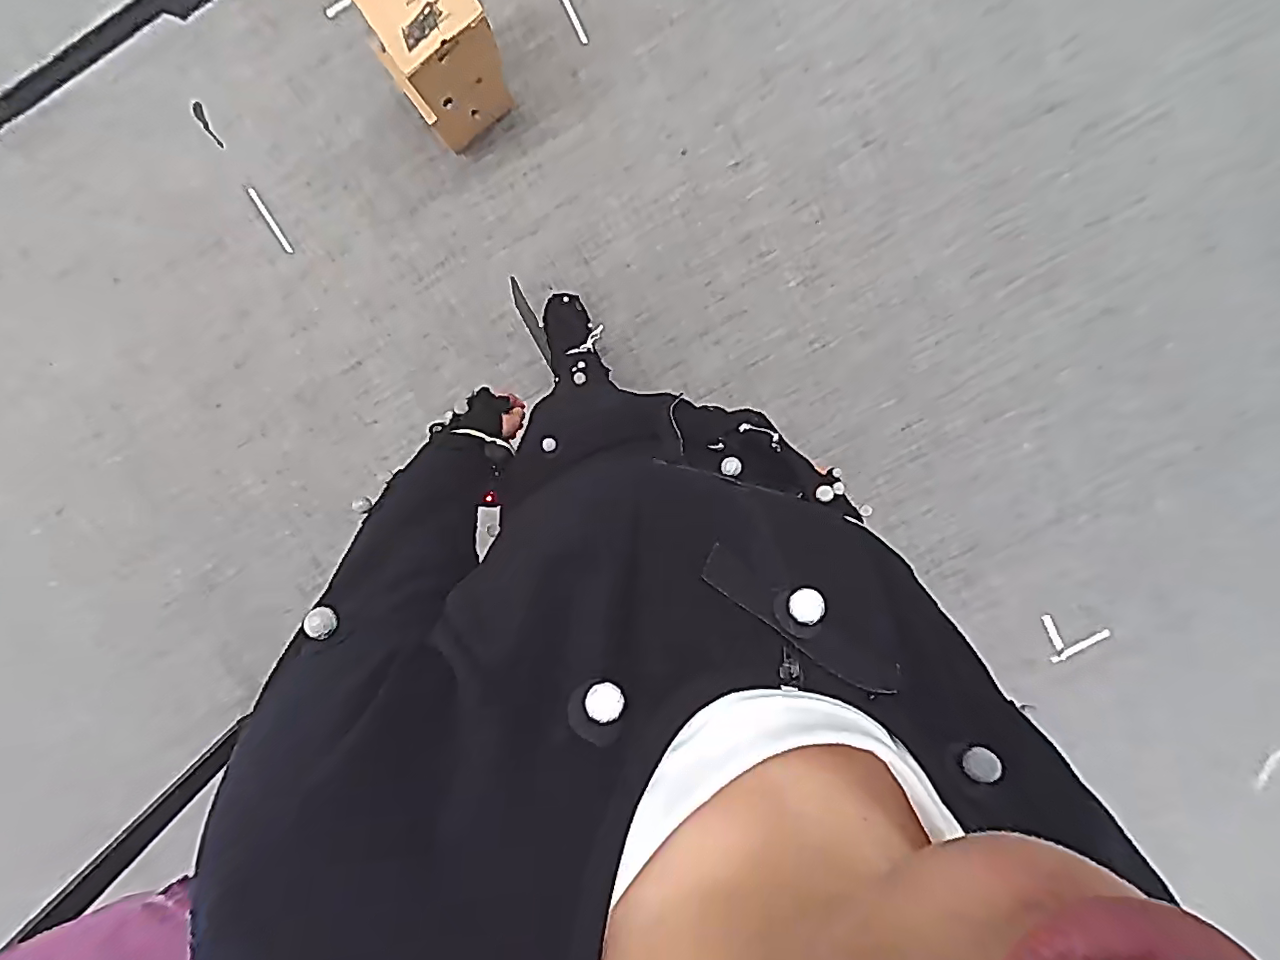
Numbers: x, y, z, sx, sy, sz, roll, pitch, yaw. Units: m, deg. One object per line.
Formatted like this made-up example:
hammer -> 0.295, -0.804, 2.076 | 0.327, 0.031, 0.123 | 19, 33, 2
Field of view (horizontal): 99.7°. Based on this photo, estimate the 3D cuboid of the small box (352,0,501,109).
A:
small box -> -0.365, -0.784, 0.932 | 0.168, 0.176, 0.179 | -34, 102, 6
